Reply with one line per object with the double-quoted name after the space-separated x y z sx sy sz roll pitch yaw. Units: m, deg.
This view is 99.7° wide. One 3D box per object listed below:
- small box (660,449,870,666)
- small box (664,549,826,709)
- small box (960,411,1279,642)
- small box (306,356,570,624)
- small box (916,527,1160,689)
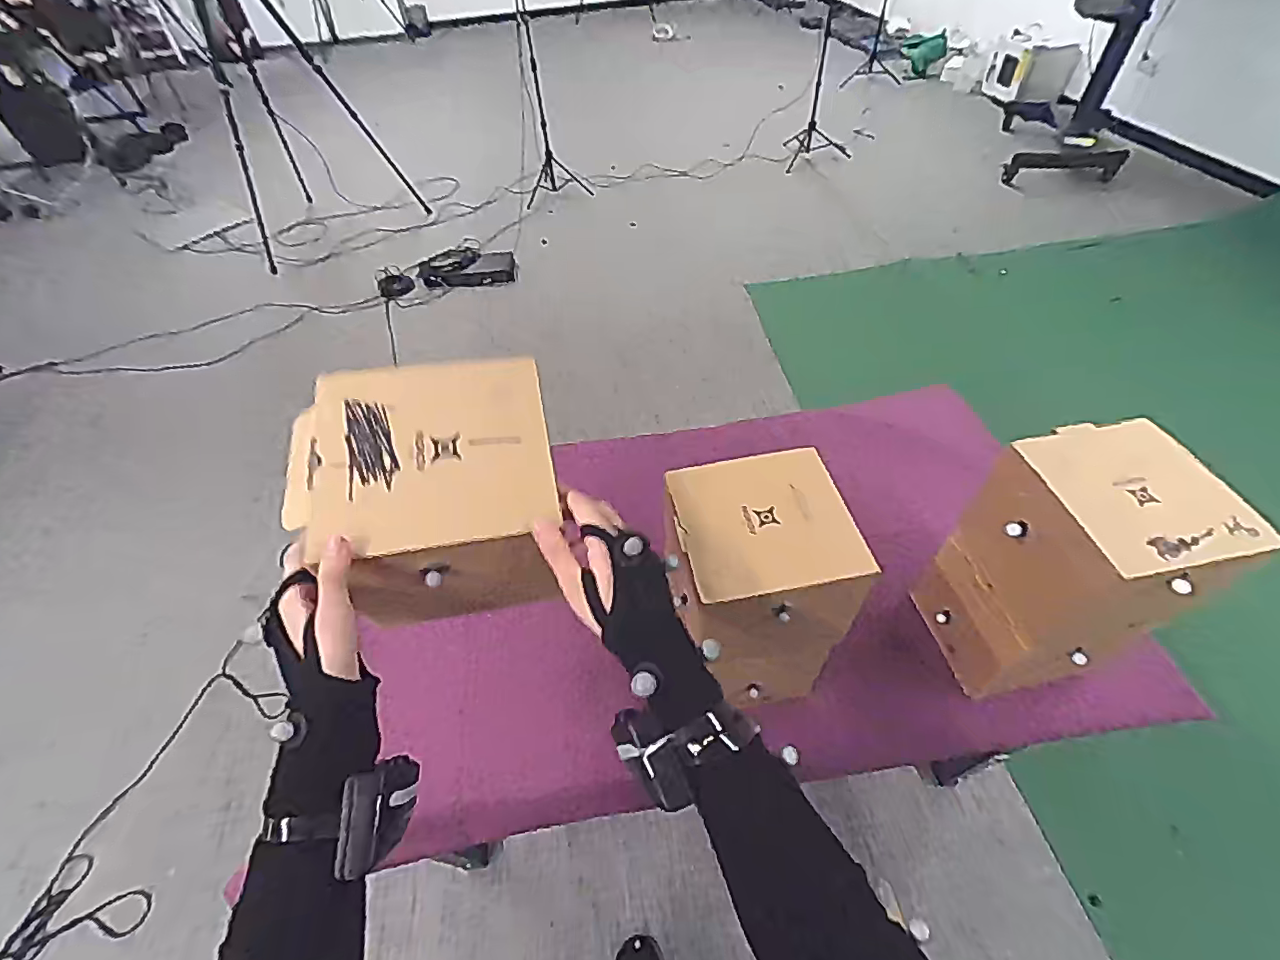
0.126 0.093 0.611 0.179 0.176 0.168 -10 50 -3 "small box"
0.133 0.195 0.738 0.168 0.176 0.179 -10 49 -3 "small box"
0.500 0.054 0.604 0.168 0.176 0.179 -12 50 -2 "small box"
-0.162 0.016 0.479 0.179 0.176 0.168 -9 63 -11 "small box"
0.512 0.161 0.729 0.179 0.176 0.168 -12 51 -3 "small box"
